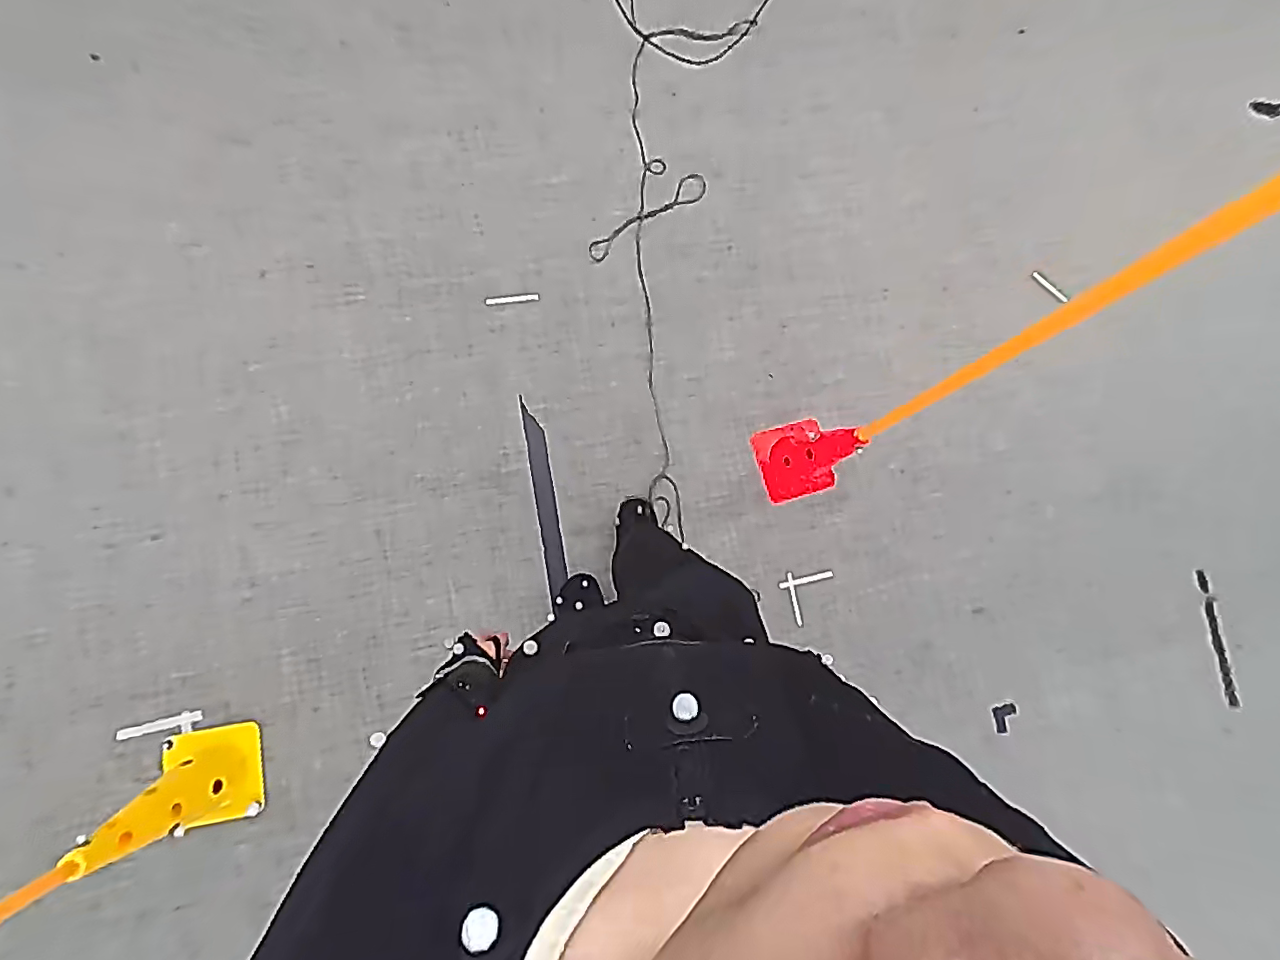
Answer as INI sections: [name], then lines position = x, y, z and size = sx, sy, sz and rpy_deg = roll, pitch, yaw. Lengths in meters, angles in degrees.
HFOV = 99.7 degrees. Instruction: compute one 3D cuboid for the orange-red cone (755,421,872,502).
[orange-red cone]
position = 0.441, -0.073, 1.287
size = 0.199, 0.360, 0.198
rpy_deg = -15, 84, -8
